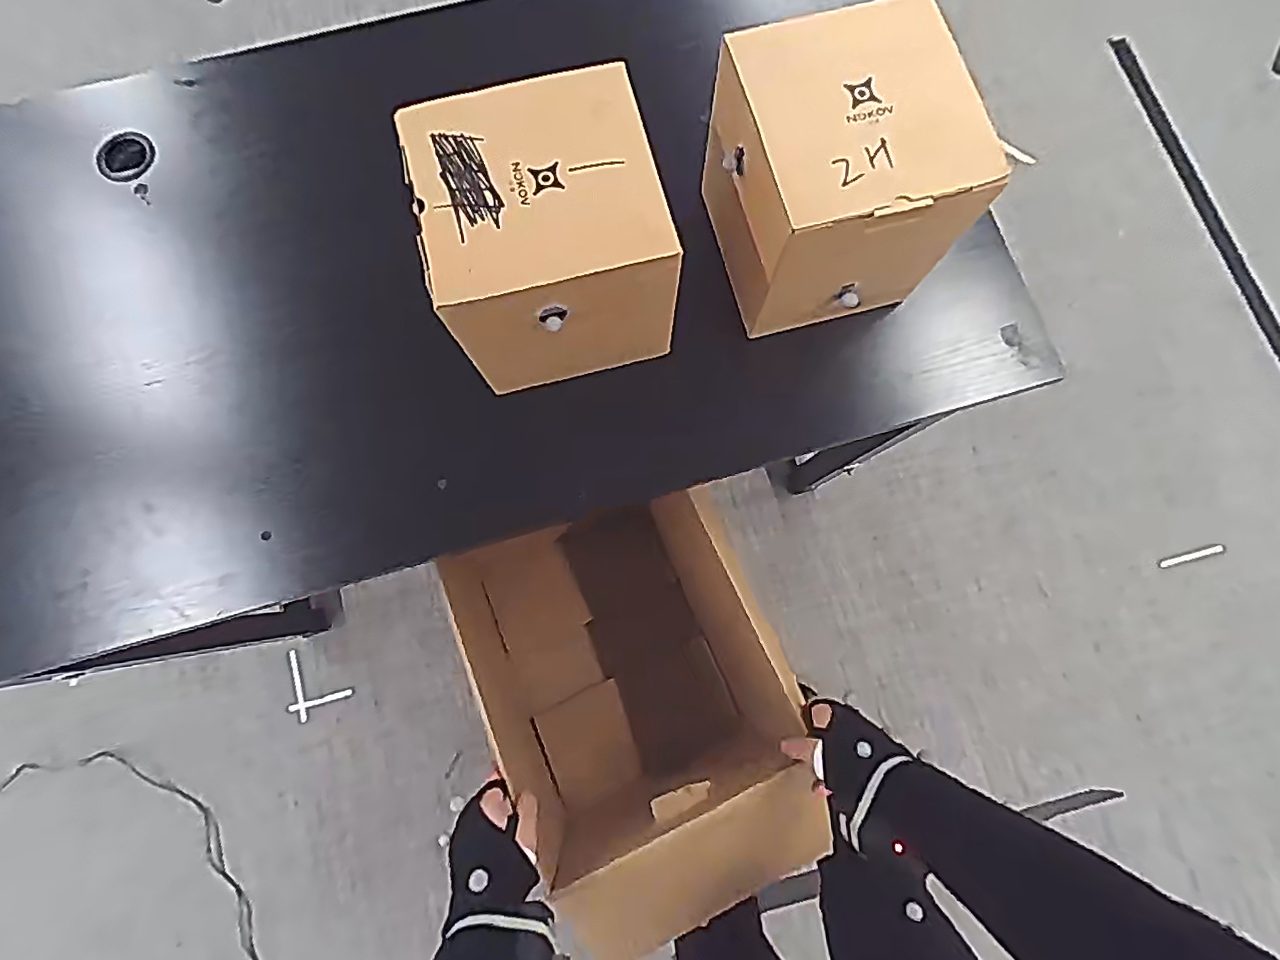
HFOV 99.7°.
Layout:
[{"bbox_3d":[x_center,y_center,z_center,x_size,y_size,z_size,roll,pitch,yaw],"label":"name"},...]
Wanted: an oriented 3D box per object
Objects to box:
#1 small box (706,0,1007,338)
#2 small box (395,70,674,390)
[{"bbox_3d":[0.161,-0.253,0.471,0.168,0.176,0.179,-14,79,-1],"label":"small box"},{"bbox_3d":[-0.077,-0.192,0.461,0.179,0.176,0.168,-14,79,-3],"label":"small box"}]
